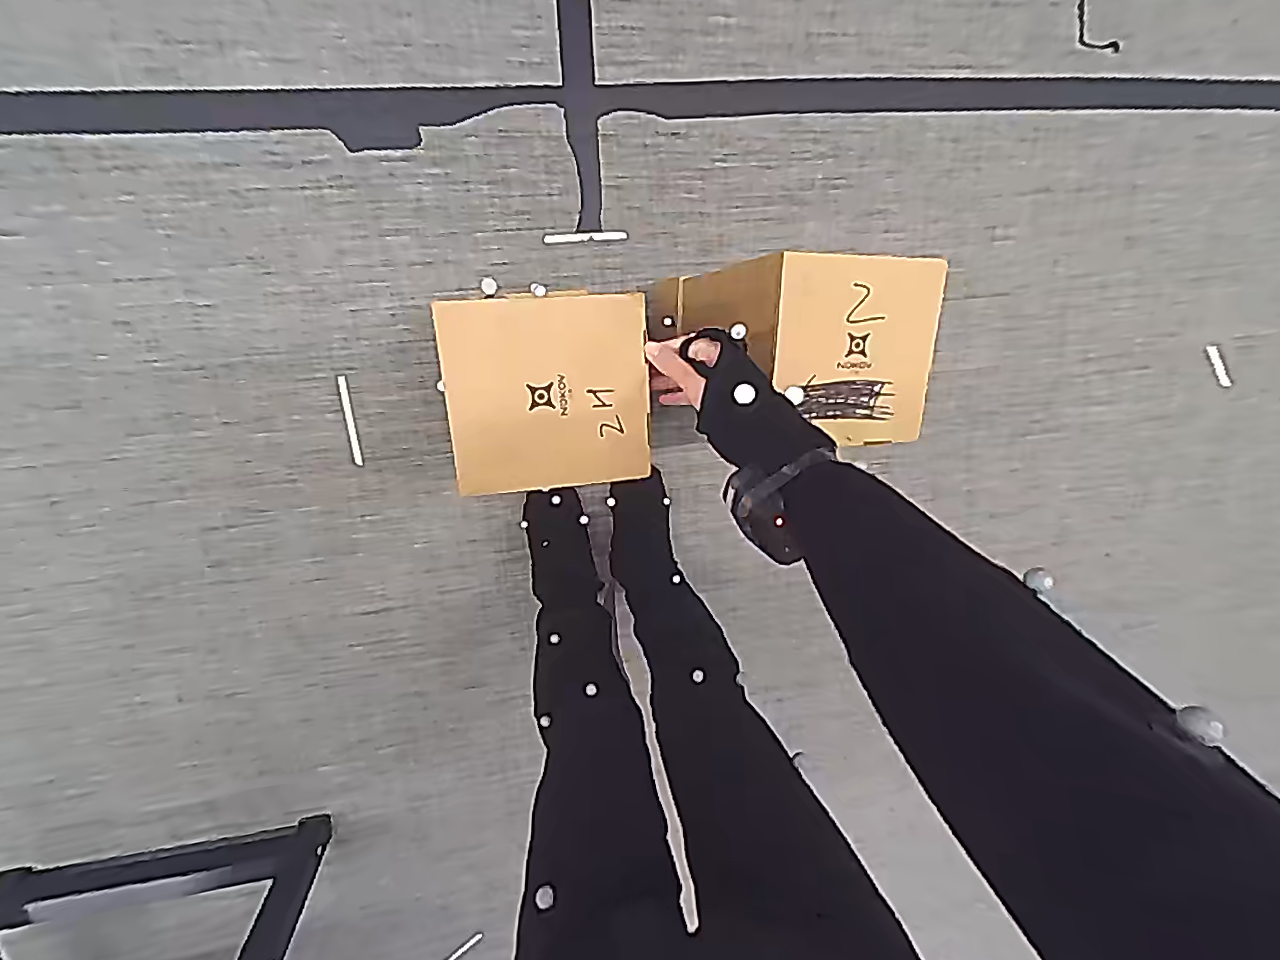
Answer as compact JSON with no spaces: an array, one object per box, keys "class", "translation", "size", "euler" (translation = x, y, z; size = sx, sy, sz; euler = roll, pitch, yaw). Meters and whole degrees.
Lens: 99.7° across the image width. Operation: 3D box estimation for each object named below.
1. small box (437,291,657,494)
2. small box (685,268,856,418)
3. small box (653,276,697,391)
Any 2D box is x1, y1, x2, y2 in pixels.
[{"class":"small box","translation":[-0.089,-0.095,0.534],"size":[0.179,0.176,0.168],"euler":[-6,109,-12]},{"class":"small box","translation":[0.162,-0.186,0.731],"size":[0.168,0.176,0.179],"euler":[-3,107,-11]},{"class":"small box","translation":[0.127,-0.239,0.884],"size":[0.179,0.176,0.168],"euler":[-2,107,-12]}]
